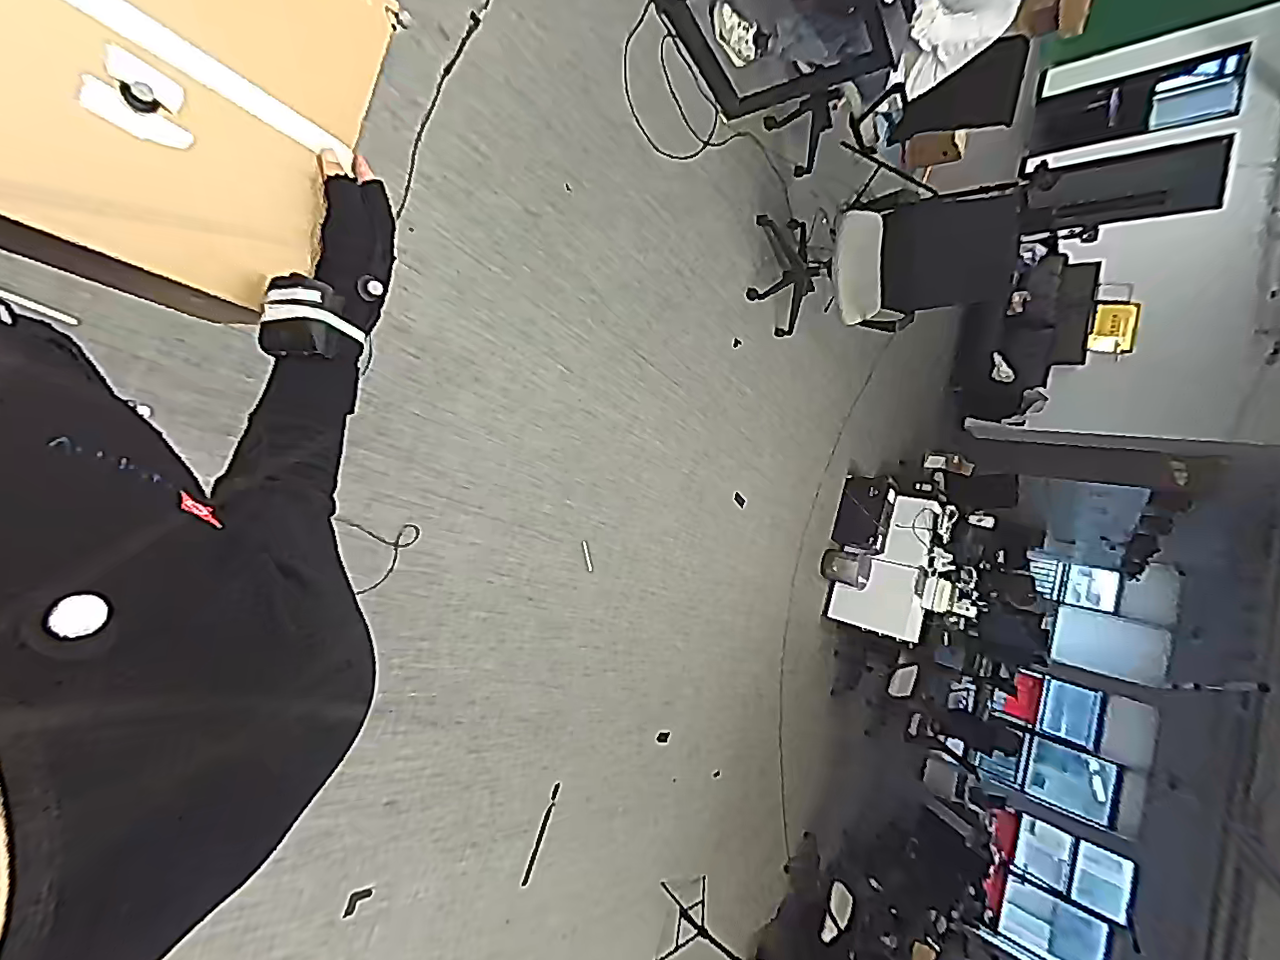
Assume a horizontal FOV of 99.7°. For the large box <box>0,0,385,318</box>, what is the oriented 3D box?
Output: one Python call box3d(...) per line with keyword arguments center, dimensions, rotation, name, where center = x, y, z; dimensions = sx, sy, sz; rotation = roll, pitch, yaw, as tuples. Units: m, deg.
box3d(center=(-0.507, -0.356, 0.439), dimensions=(0.408, 0.320, 0.320), rotation=(18, 88, -51), name="large box")
